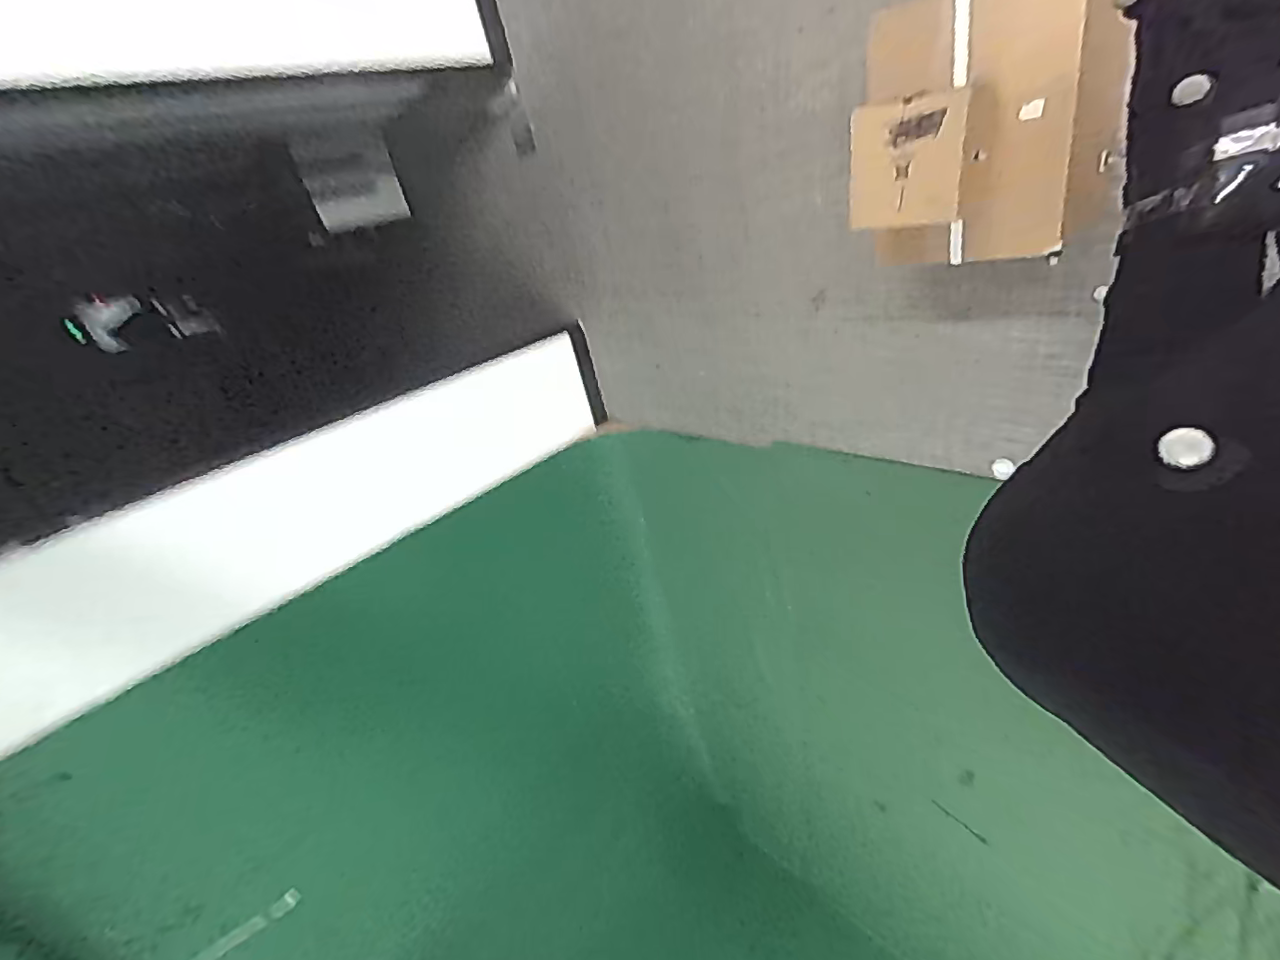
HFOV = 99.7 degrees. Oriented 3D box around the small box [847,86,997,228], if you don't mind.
[{"bbox_3d":[0.455,-0.520,0.876,0.168,0.176,0.179,19,131,38],"label":"small box"}]
